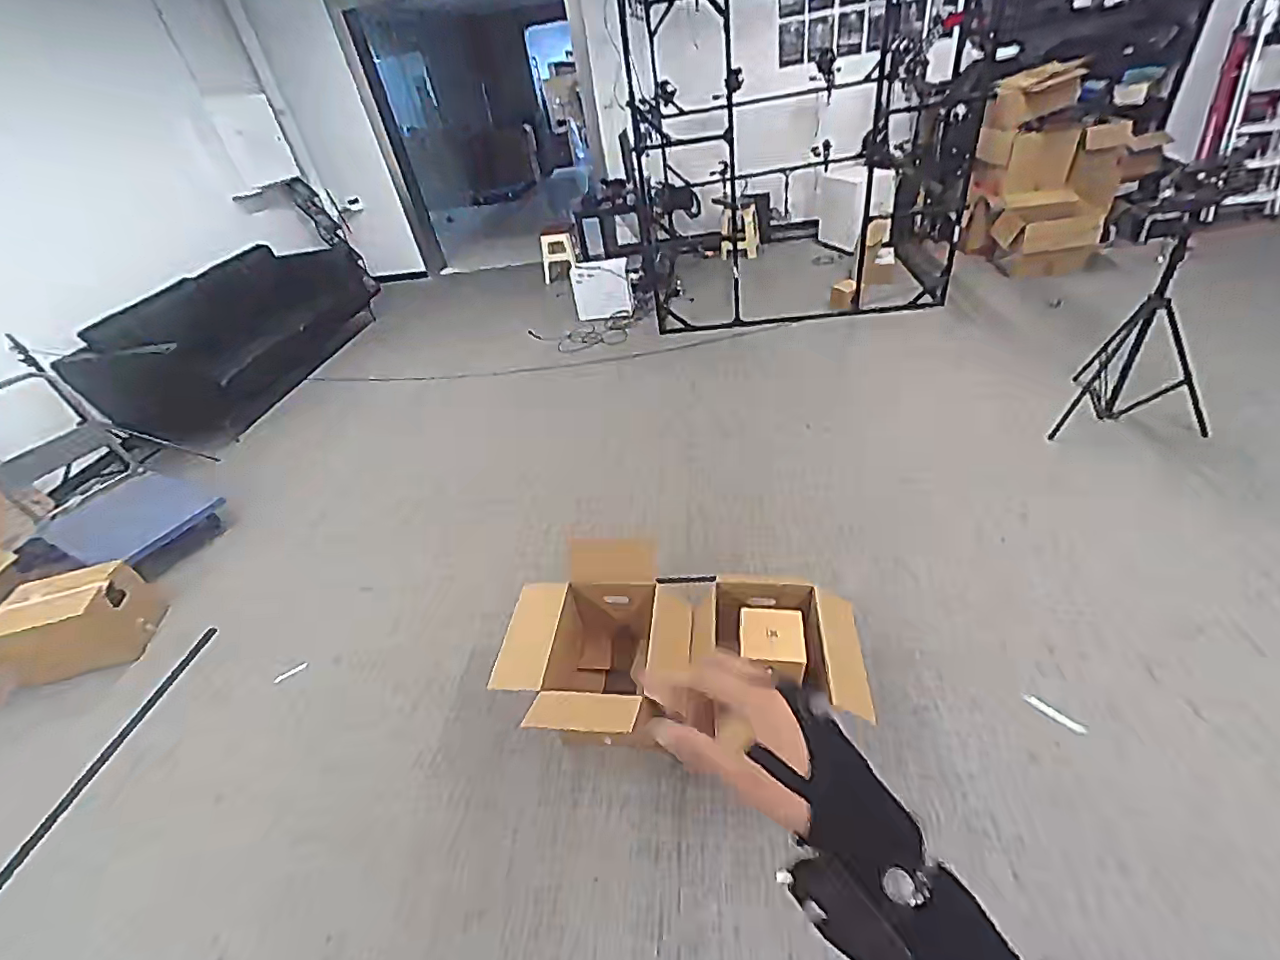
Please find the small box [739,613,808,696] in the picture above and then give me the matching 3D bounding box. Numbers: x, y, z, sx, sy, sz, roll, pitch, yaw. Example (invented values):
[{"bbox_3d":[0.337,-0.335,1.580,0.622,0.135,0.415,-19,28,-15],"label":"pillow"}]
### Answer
[{"bbox_3d":[0.379,0.504,1.556,0.179,0.176,0.168,1,41,10],"label":"small box"}]
